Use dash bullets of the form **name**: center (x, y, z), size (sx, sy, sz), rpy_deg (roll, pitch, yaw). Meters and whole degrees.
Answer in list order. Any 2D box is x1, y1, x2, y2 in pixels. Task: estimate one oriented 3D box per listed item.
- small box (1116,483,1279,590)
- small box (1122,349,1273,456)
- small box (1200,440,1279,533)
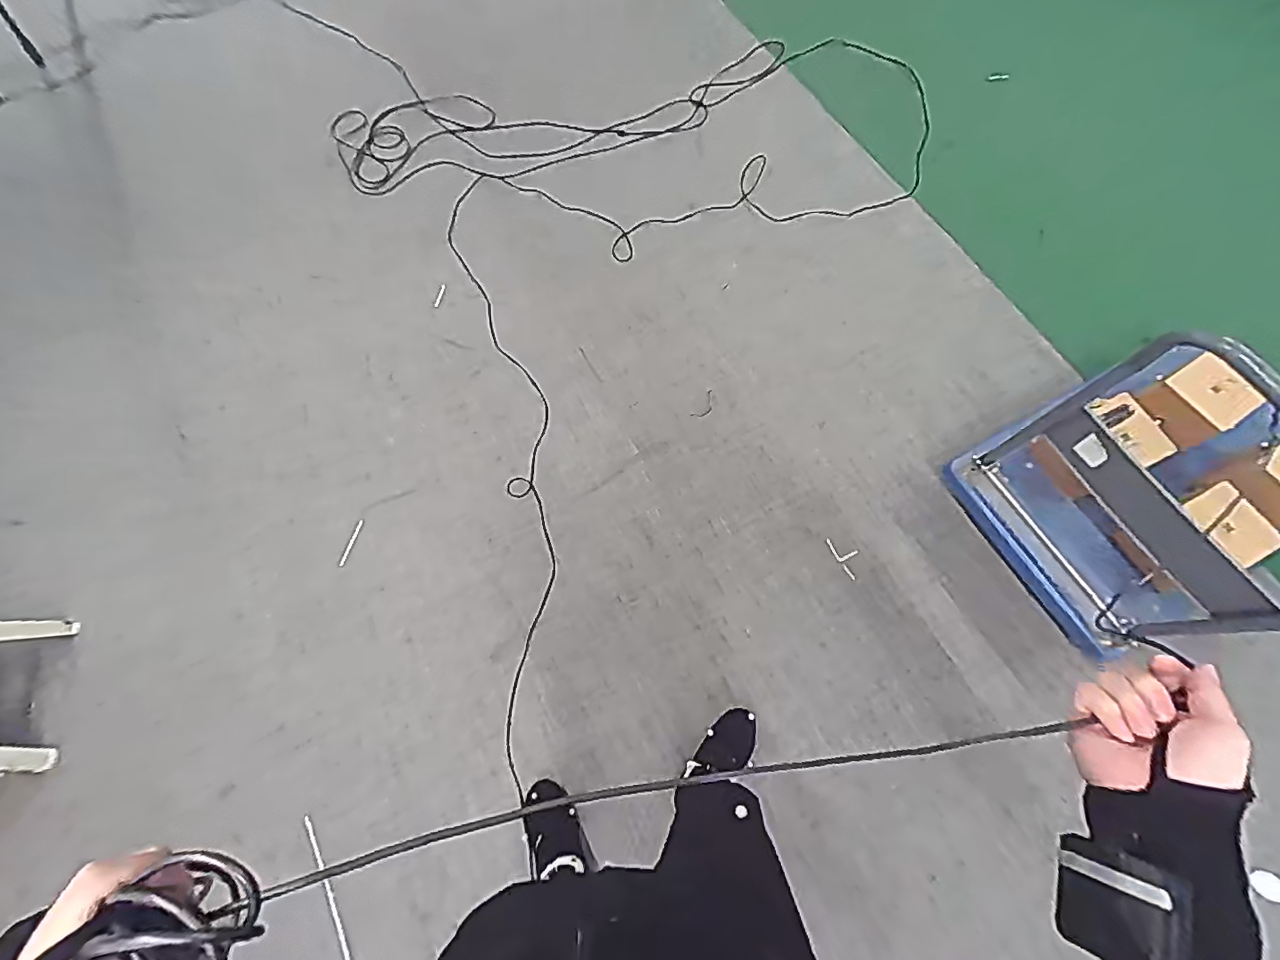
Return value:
- **small box**: center (1.273, 0.136, 1.243), size (0.179, 0.176, 0.168), rpy_deg (-27, 71, -6)
- **small box**: center (1.375, -0.186, 1.354), size (0.179, 0.176, 0.168), rpy_deg (-31, 72, -8)
- **small box**: center (1.510, 0.011, 1.276), size (0.179, 0.176, 0.168), rpy_deg (-31, 71, -7)
